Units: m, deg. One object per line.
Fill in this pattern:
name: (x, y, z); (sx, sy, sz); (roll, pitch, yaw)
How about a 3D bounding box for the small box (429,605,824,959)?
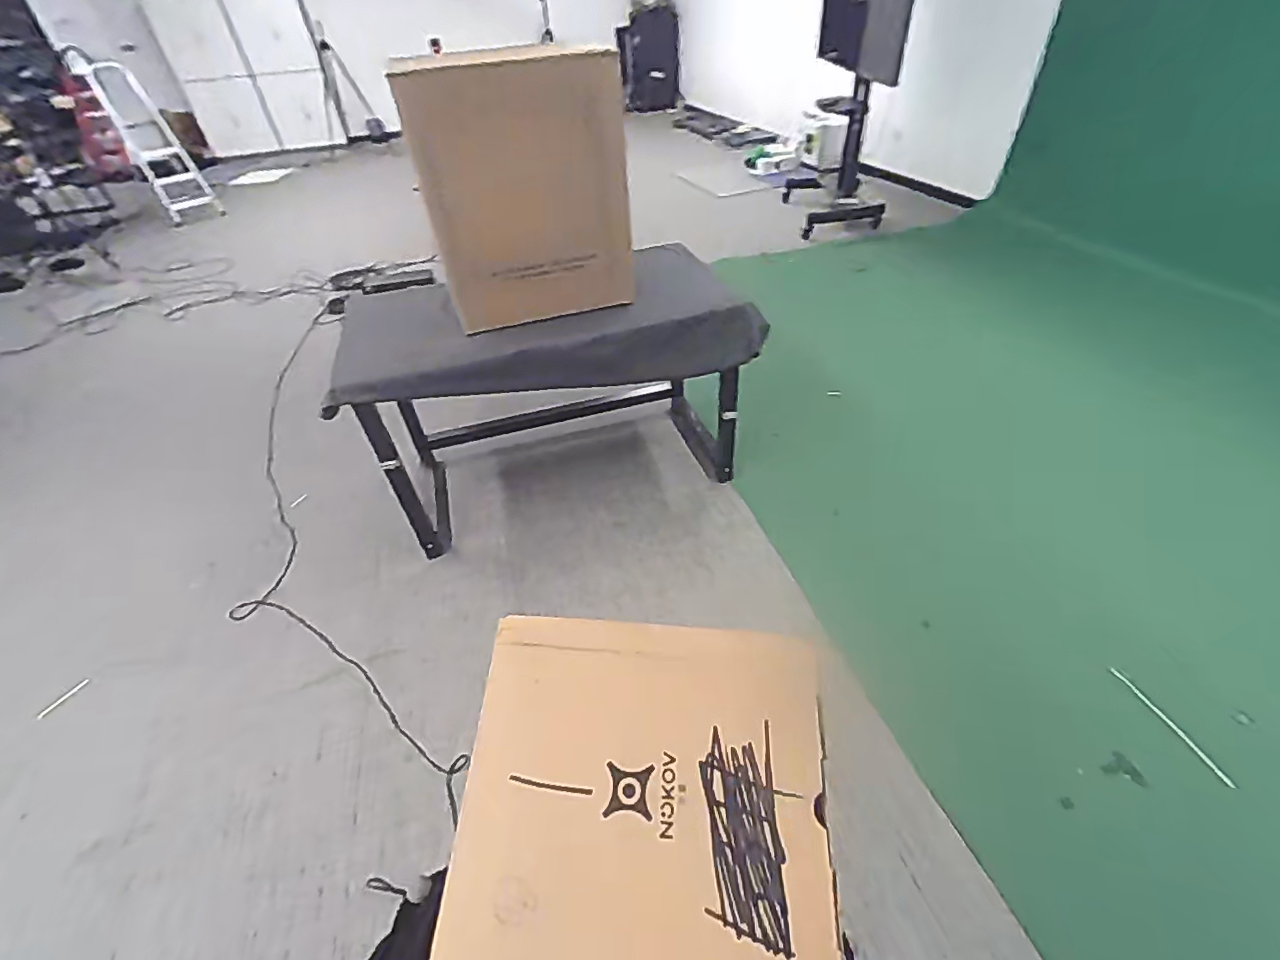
small box: (-0.001, 0.189, 0.342); (0.179, 0.176, 0.168); (3, 59, 3)
